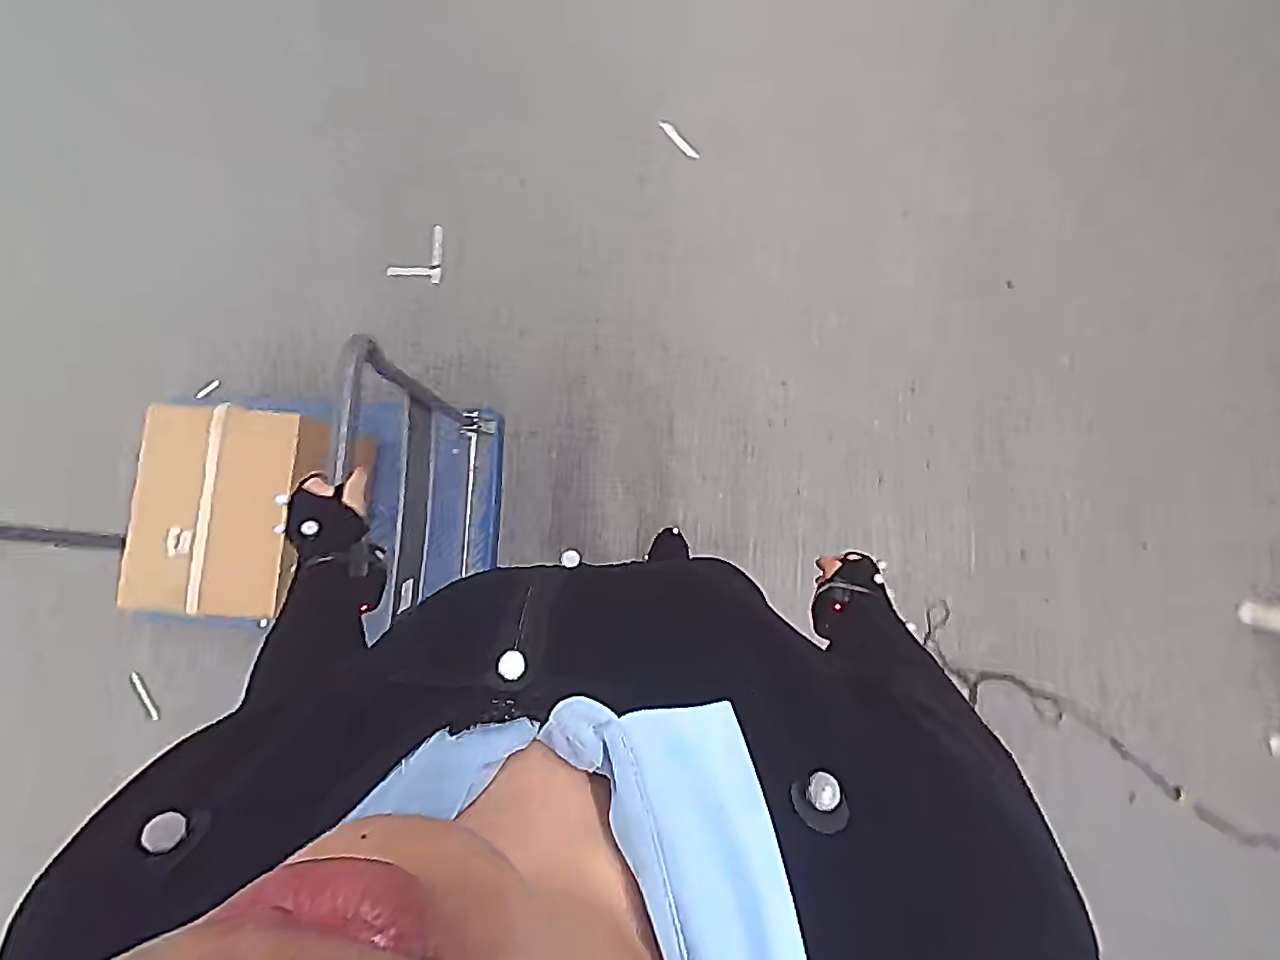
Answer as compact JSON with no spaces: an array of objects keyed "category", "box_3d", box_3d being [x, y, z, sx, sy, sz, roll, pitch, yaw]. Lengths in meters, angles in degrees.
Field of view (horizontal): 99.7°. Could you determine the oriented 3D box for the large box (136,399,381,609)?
[{"category":"large box","box_3d":[-0.817,0.051,1.212,0.320,0.320,0.408,5,86,2]}]
